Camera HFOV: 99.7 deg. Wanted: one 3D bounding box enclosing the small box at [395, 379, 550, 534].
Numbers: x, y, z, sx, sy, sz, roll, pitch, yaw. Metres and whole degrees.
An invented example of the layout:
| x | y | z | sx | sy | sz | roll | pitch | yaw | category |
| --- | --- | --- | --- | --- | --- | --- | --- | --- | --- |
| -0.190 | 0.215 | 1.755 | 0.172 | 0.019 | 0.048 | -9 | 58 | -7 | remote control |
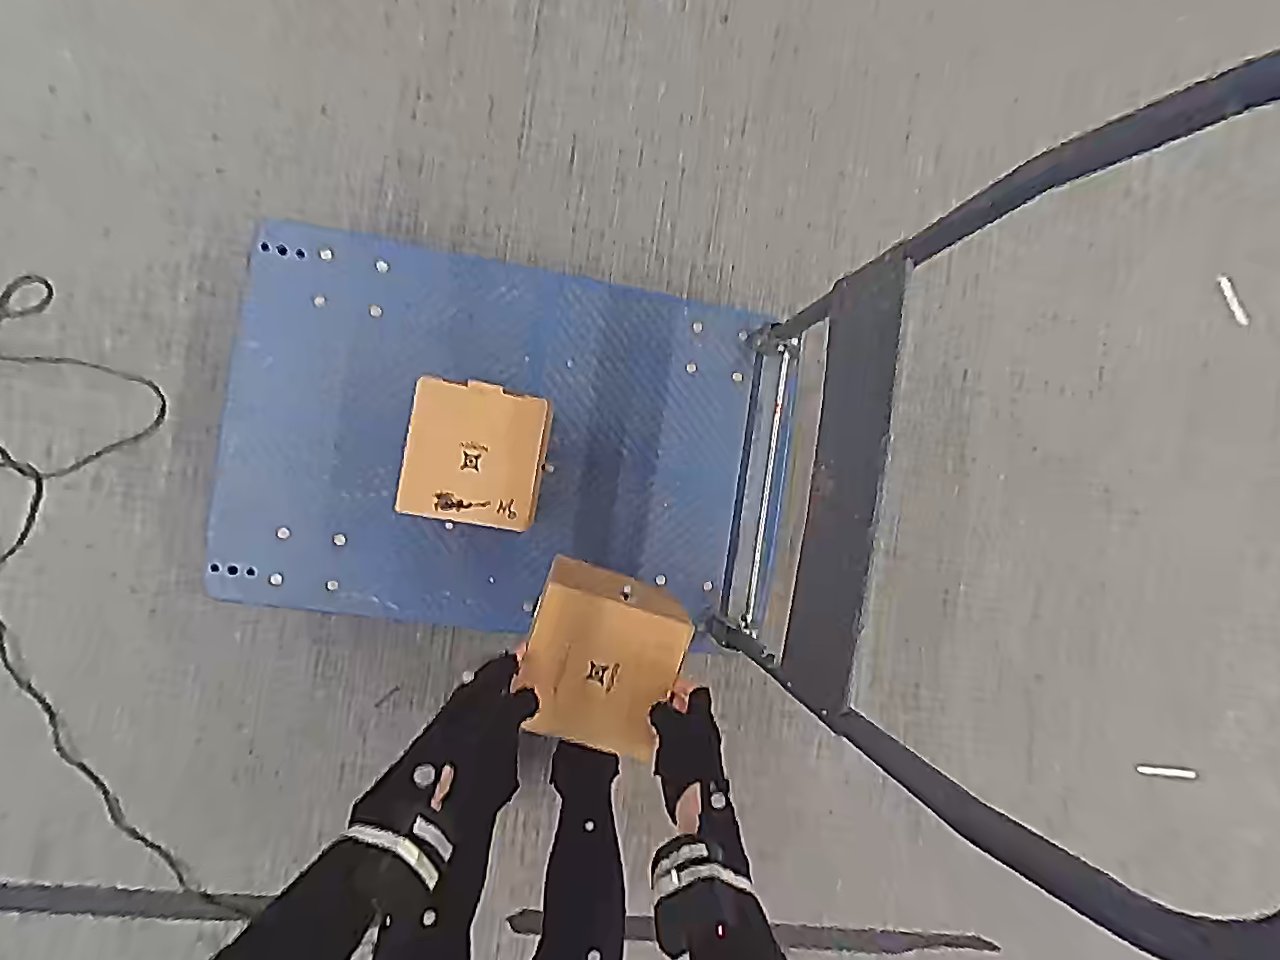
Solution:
| x | y | z | sx | sy | sz | roll | pitch | yaw | category |
| --- | --- | --- | --- | --- | --- | --- | --- | --- | --- |
| -0.224 | -0.027 | 0.769 | 0.168 | 0.176 | 0.179 | 11 | 87 | -7 | small box |

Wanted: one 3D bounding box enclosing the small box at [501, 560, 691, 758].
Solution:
| x | y | z | sx | sy | sz | roll | pitch | yaw | category |
| --- | --- | --- | --- | --- | --- | --- | --- | --- | --- |
| -0.057 | 0.213 | 0.689 | 0.179 | 0.176 | 0.168 | 20 | 89 | -6 | small box |
